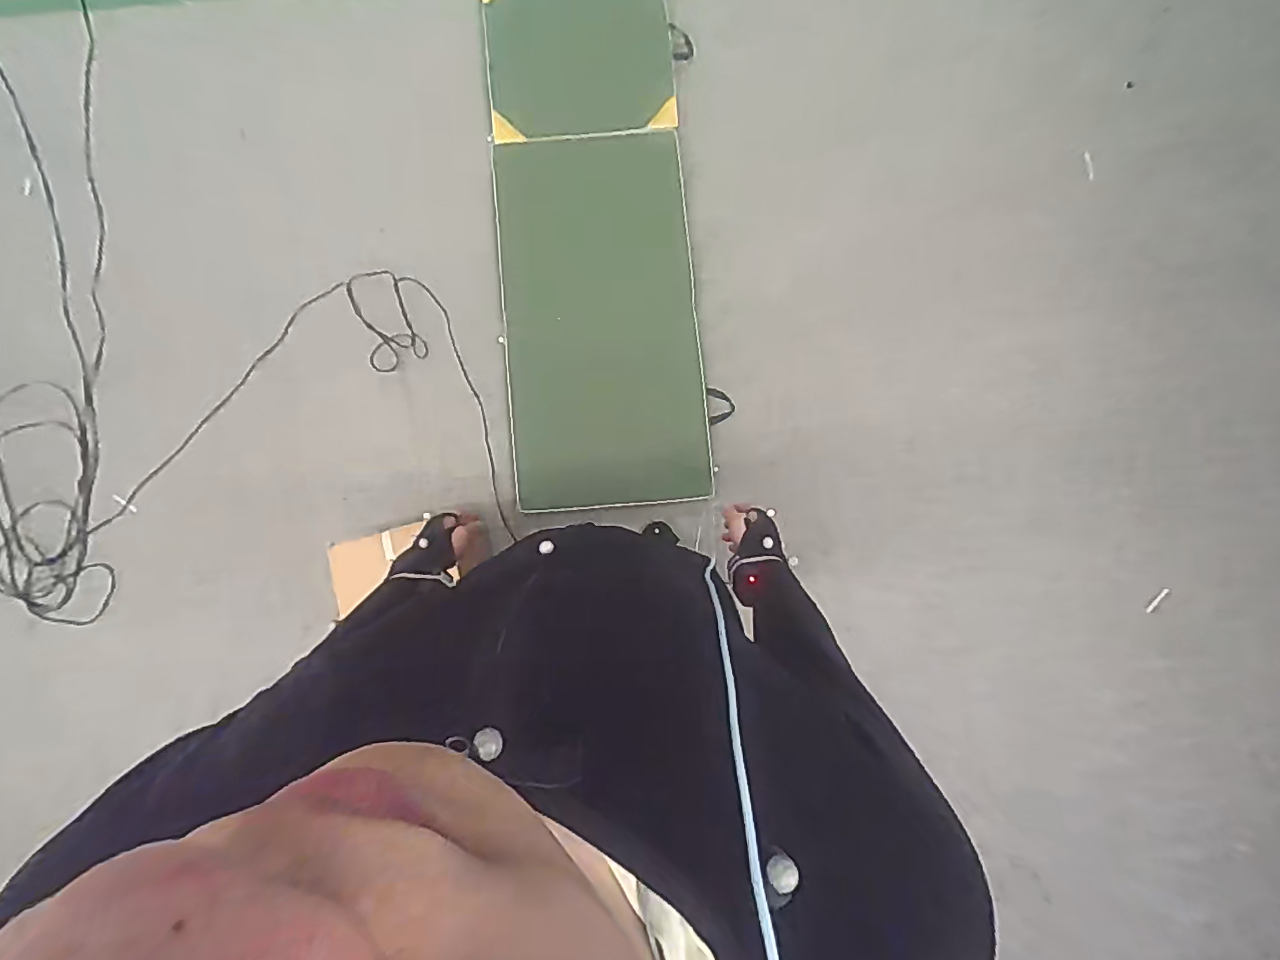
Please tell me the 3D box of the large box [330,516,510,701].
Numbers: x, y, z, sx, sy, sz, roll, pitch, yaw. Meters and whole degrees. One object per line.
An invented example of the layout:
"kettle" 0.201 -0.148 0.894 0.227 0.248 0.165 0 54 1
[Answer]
"large box" -0.586 0.334 1.498 0.320 0.320 0.408 -14 84 -1
